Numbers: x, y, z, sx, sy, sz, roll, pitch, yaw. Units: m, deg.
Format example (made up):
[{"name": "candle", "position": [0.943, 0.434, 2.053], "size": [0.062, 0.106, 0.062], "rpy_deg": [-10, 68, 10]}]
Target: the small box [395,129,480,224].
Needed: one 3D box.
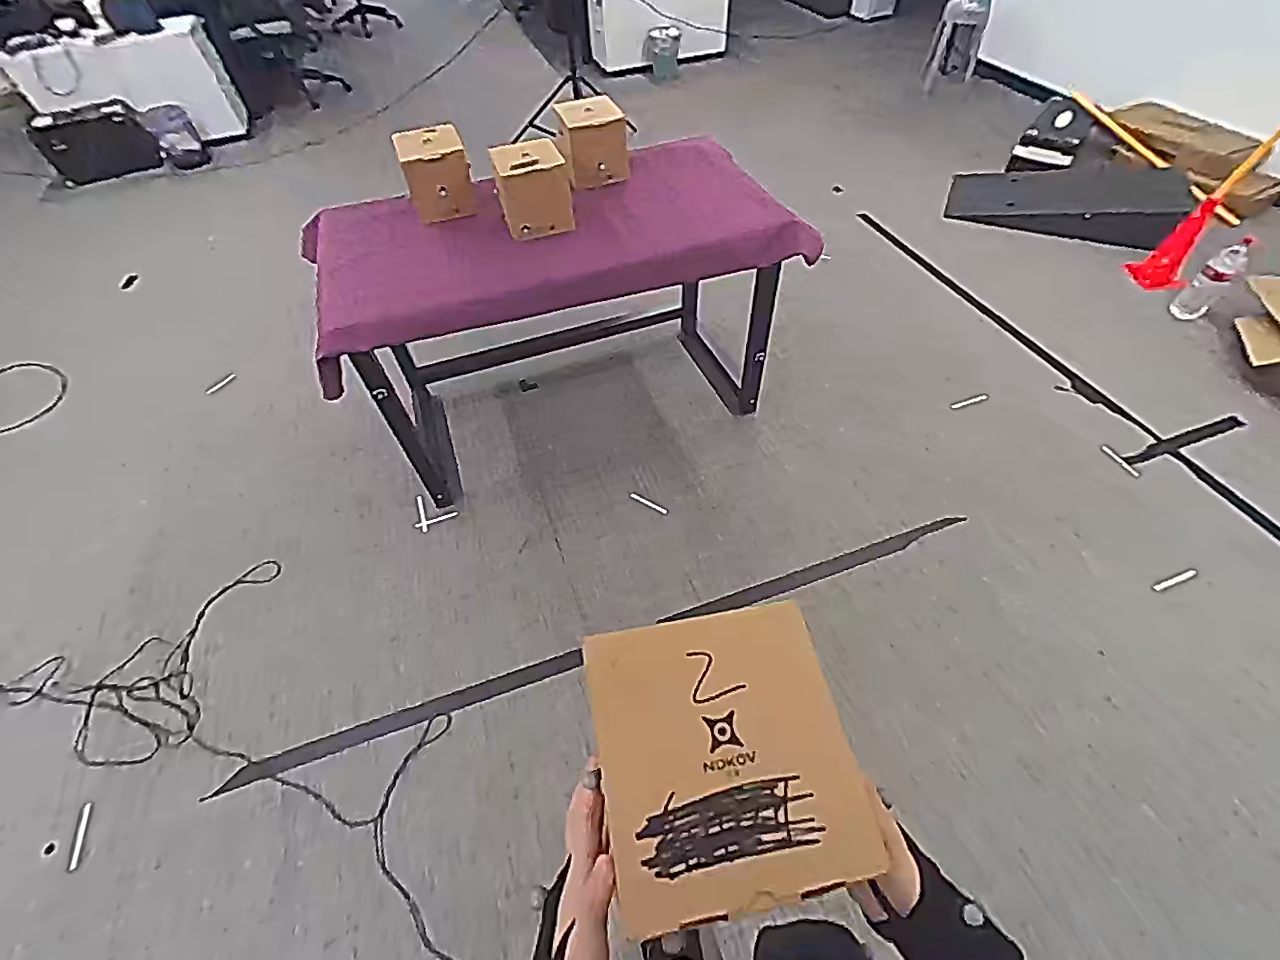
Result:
[{"name": "small box", "position": [-0.555, -0.829, 1.493], "size": [0.168, 0.176, 0.179], "rpy_deg": [-18, 56, -11]}]

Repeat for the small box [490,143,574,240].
[{"name": "small box", "position": [-0.281, -0.752, 1.423], "size": [0.168, 0.176, 0.179], "rpy_deg": [-17, 53, -10]}]

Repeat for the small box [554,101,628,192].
[{"name": "small box", "position": [-0.141, -0.974, 1.582], "size": [0.168, 0.176, 0.179], "rpy_deg": [-18, 55, -10]}]
